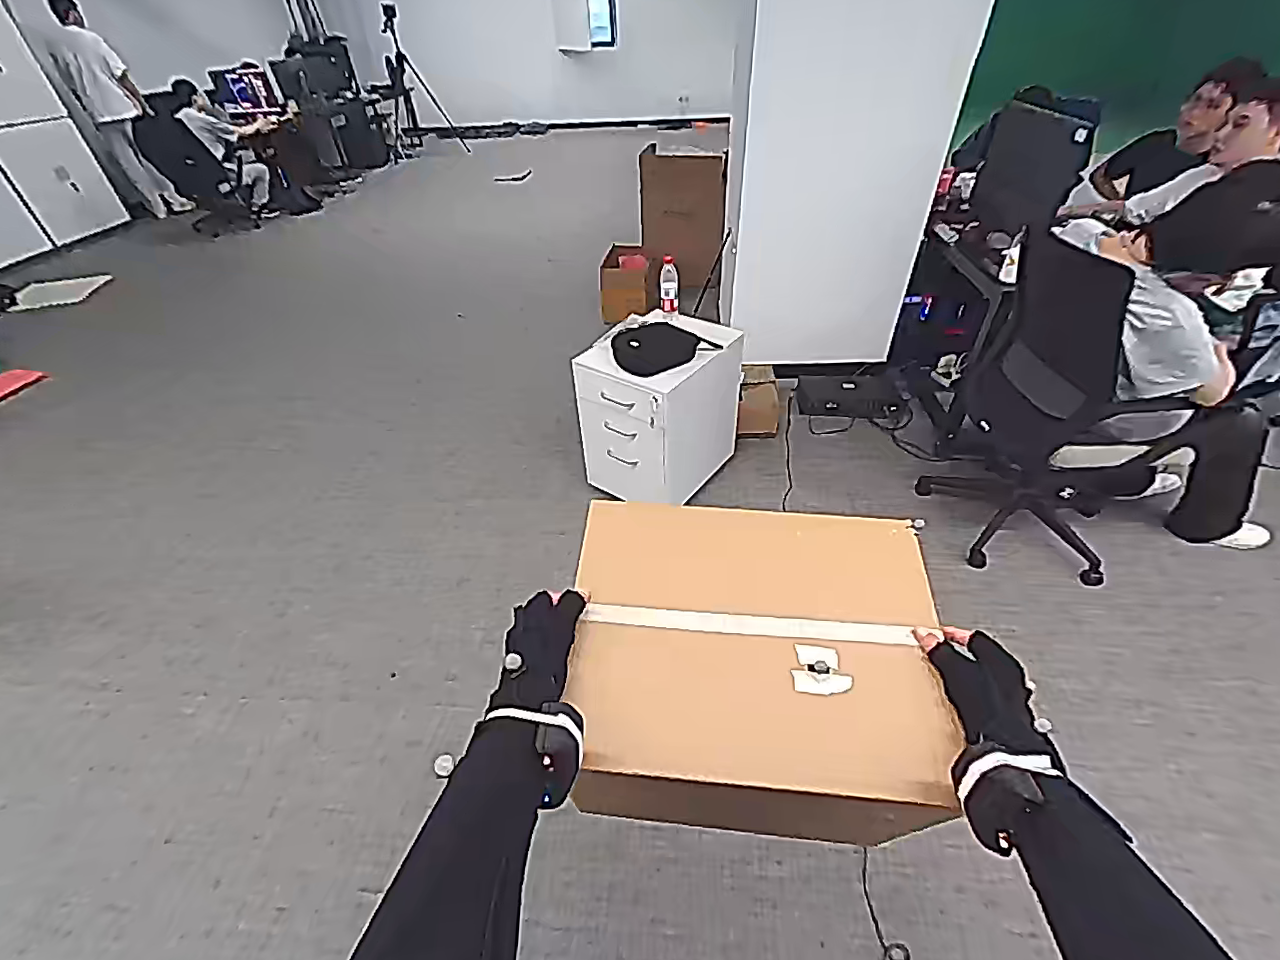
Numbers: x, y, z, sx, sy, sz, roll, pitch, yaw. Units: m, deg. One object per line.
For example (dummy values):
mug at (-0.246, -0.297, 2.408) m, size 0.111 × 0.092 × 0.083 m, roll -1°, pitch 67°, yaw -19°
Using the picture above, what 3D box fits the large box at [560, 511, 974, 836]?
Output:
large box at (0.129, 0.262, 0.723) m, size 0.408 × 0.320 × 0.320 m, roll 3°, pitch 52°, yaw 4°
